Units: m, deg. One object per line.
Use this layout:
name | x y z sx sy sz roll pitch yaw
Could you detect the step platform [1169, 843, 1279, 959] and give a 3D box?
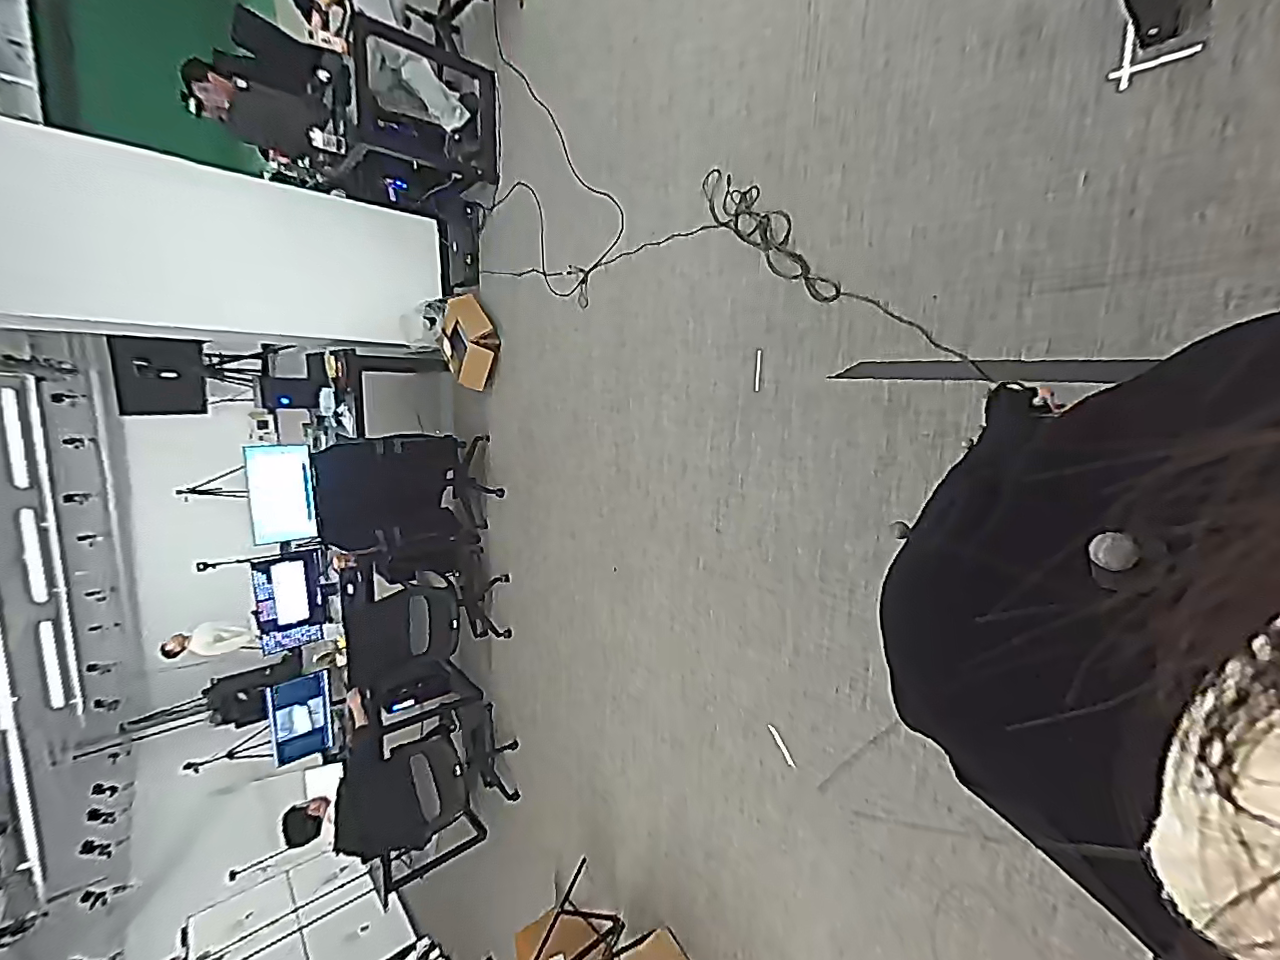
step platform | 1.292 0.939 0.826 0.684 0.204 0.286 20 110 45
